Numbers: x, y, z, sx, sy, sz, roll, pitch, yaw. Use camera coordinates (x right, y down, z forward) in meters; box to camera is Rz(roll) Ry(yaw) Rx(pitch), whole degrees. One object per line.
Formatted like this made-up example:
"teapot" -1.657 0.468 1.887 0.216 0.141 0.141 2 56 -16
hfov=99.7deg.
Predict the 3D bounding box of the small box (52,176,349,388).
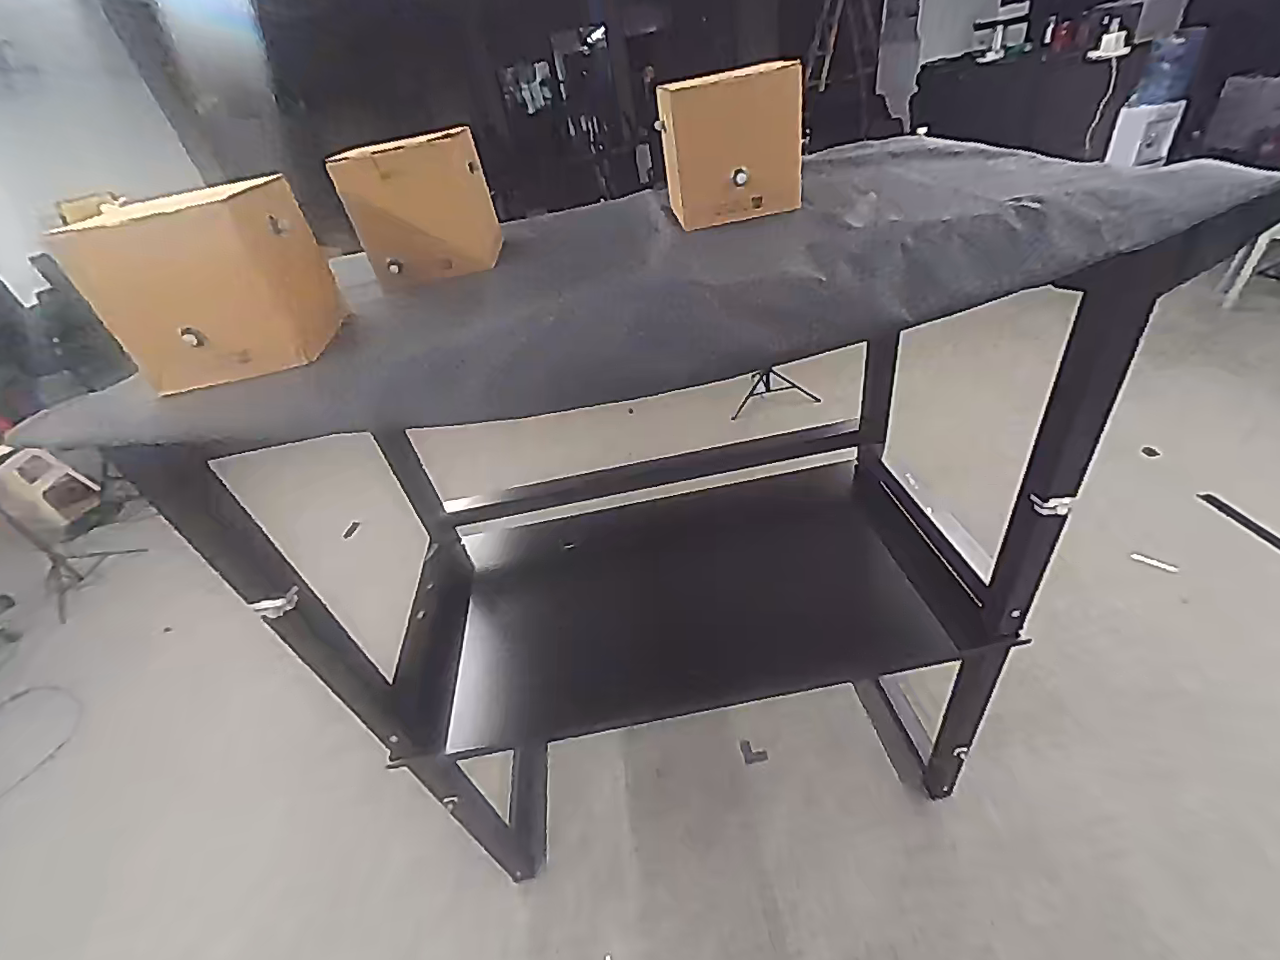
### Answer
"small box" -0.458 -0.224 0.608 0.168 0.176 0.179 -13 37 -3

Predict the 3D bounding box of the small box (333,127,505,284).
"small box" -0.308 -0.402 0.800 0.168 0.176 0.179 -11 36 1

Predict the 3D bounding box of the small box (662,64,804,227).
"small box" 0.129 -0.480 0.782 0.168 0.176 0.179 -10 37 3
